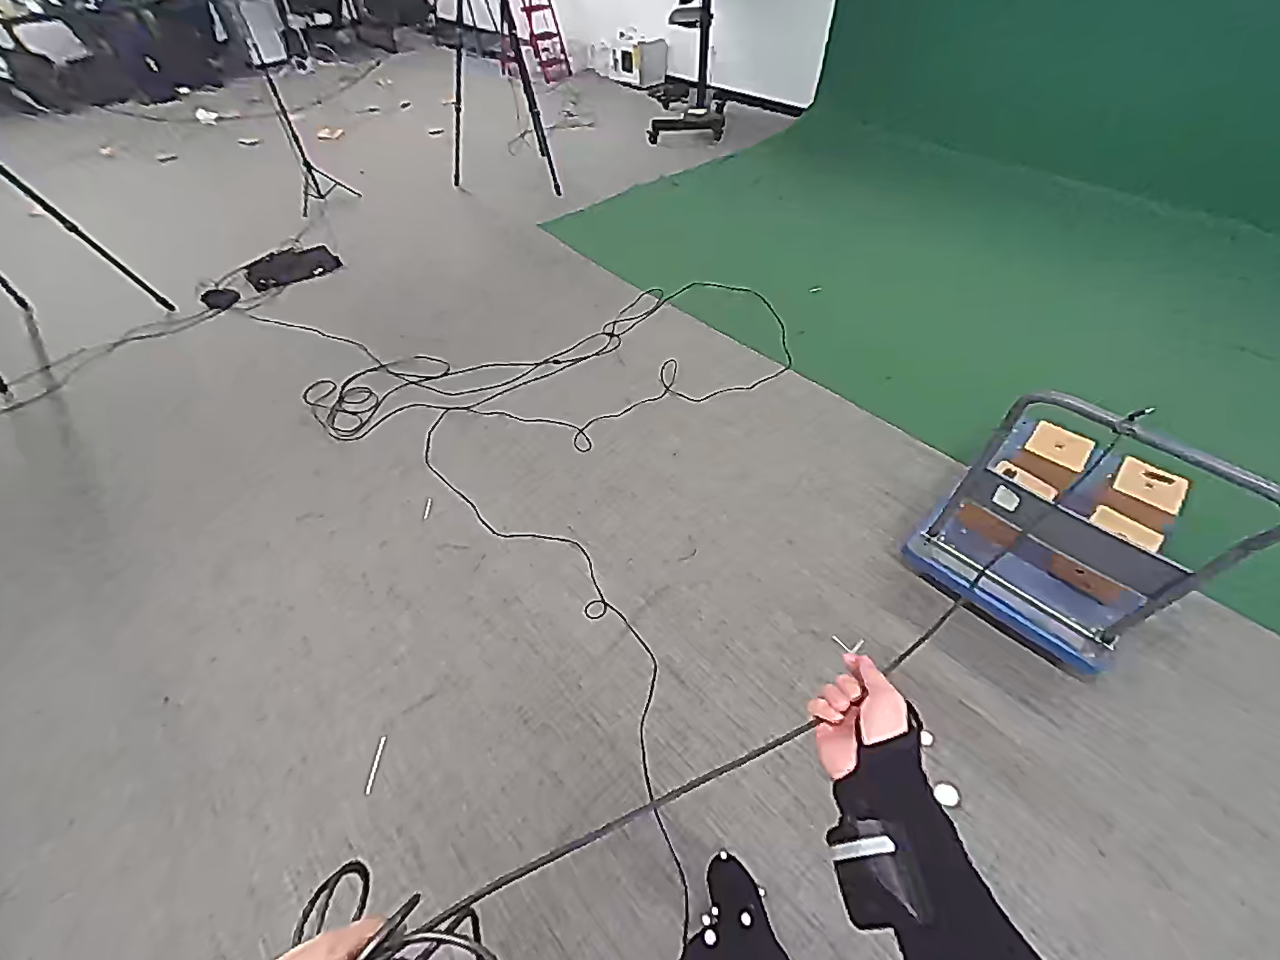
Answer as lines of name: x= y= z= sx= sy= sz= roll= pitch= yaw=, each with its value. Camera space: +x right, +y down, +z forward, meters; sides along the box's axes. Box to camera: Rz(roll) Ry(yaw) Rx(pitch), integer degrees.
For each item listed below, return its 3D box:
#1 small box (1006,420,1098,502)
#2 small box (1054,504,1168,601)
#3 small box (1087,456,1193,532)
small box: x=1.351 y=-0.060 z=1.786 sx=0.168 sy=0.176 sz=0.179 roll=34 pitch=59 yaw=27
small box: x=1.344 y=0.210 z=1.555 sx=0.179 sy=0.176 sz=0.168 roll=-36 pitch=57 yaw=-25
small box: x=1.538 y=0.064 z=1.672 sx=0.168 sy=0.176 sz=0.179 roll=34 pitch=59 yaw=28
